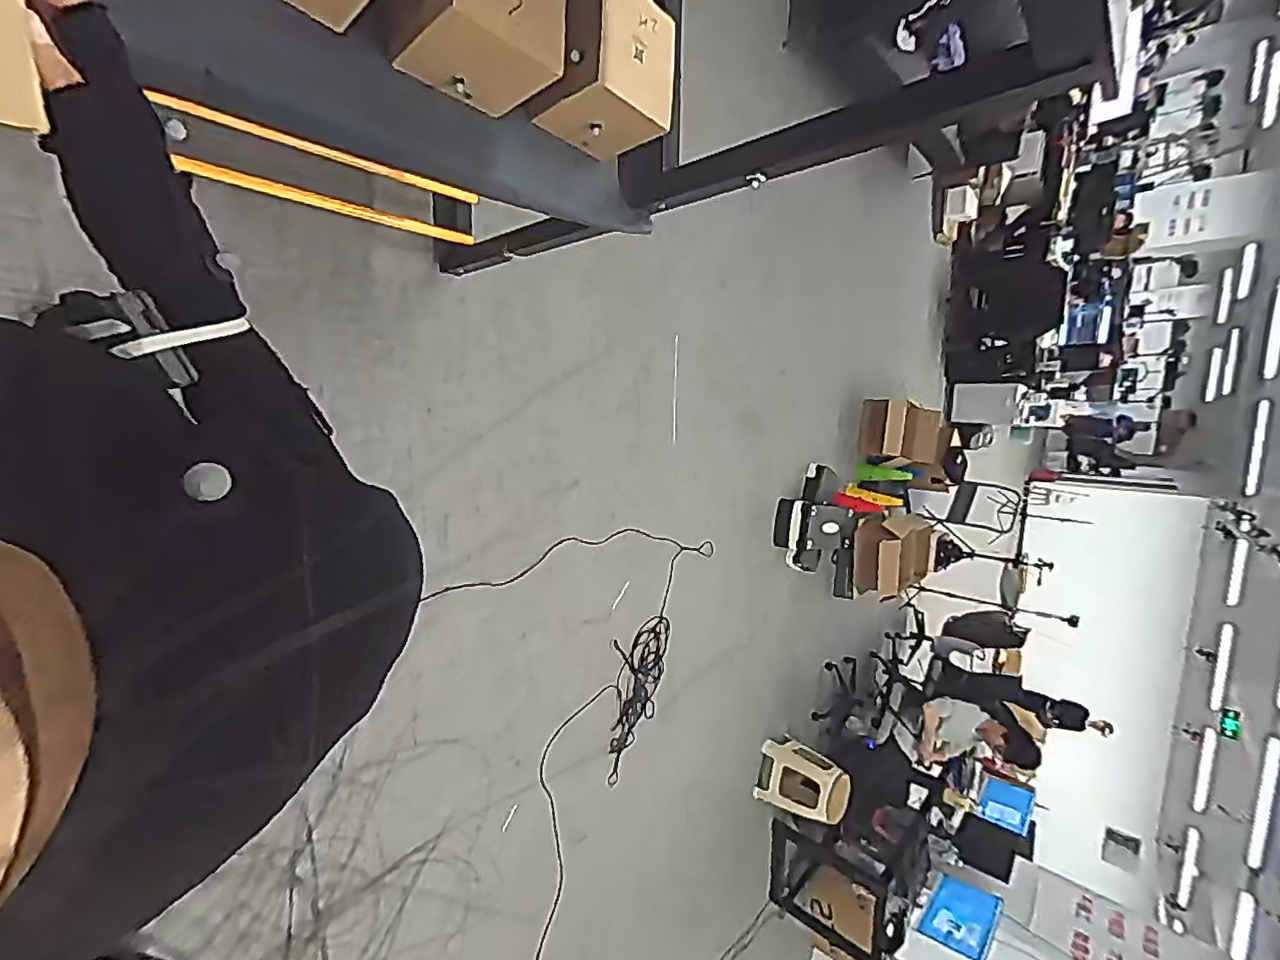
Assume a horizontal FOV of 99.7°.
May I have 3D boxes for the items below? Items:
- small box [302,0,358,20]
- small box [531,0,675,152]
[{"bbox_3d":[-0.362,-0.647,0.564,0.168,0.176,0.179,3,94,-48],"label":"small box"},{"bbox_3d":[-0.063,-0.677,0.887,0.168,0.176,0.179,-2,97,-48],"label":"small box"}]
